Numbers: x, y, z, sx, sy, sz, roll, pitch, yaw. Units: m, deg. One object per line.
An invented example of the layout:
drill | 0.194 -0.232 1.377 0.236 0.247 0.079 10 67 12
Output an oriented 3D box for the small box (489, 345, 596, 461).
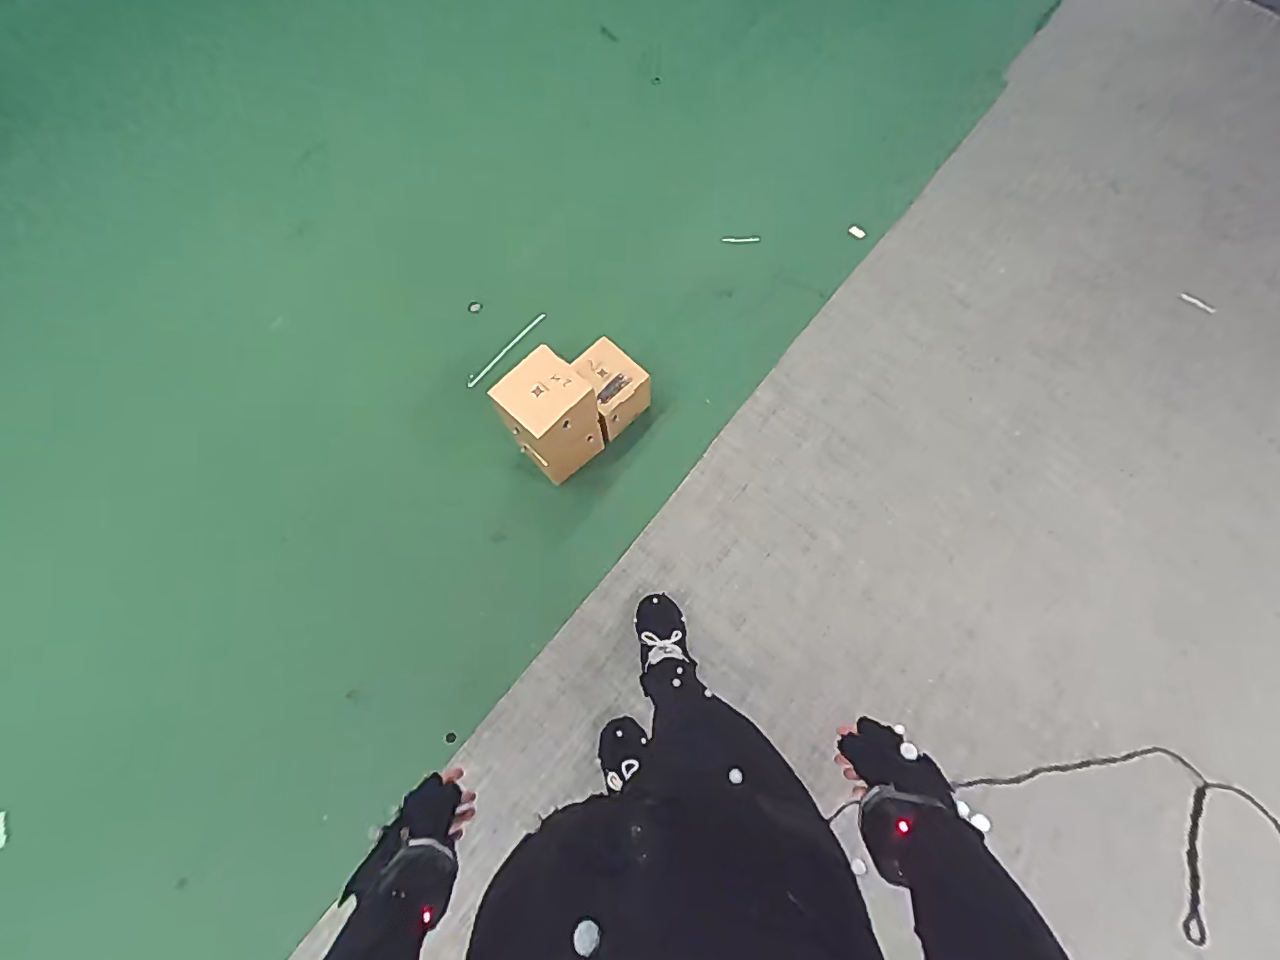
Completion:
small box | -0.218 -0.172 1.270 0.168 0.176 0.179 42 76 13
